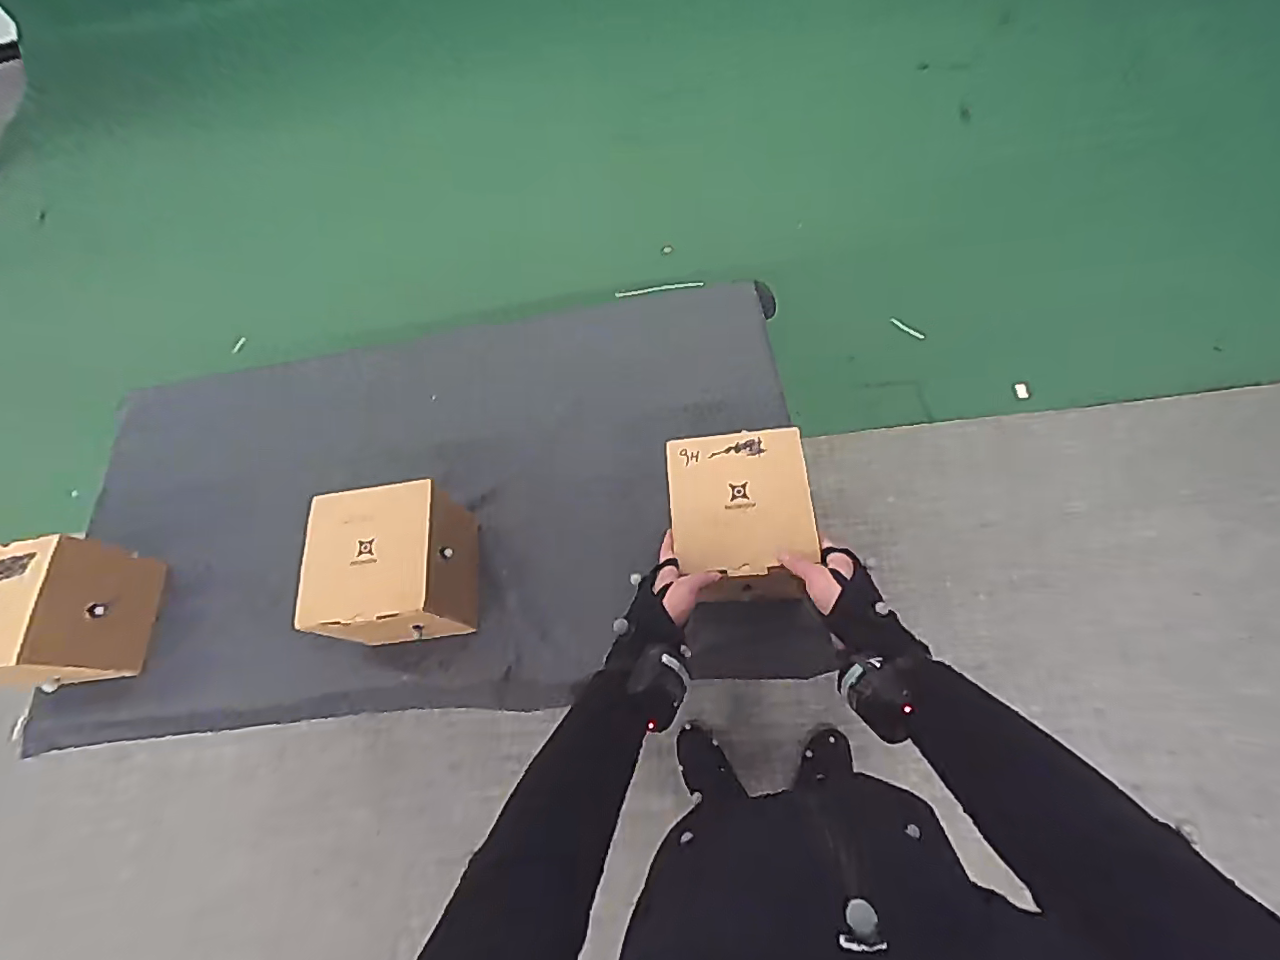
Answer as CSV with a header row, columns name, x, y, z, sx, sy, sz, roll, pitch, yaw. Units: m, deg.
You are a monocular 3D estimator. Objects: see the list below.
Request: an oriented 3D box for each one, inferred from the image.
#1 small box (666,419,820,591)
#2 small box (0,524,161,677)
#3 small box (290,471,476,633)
name,x,y,z,sx,sy,sz,roll,pitch,yaw
small box,0.129,0.043,0.699,0.168,0.176,0.179,-6,66,8
small box,-0.850,0.179,0.776,0.168,0.176,0.179,-8,67,4
small box,-0.334,0.108,0.741,0.168,0.176,0.179,-8,65,3
